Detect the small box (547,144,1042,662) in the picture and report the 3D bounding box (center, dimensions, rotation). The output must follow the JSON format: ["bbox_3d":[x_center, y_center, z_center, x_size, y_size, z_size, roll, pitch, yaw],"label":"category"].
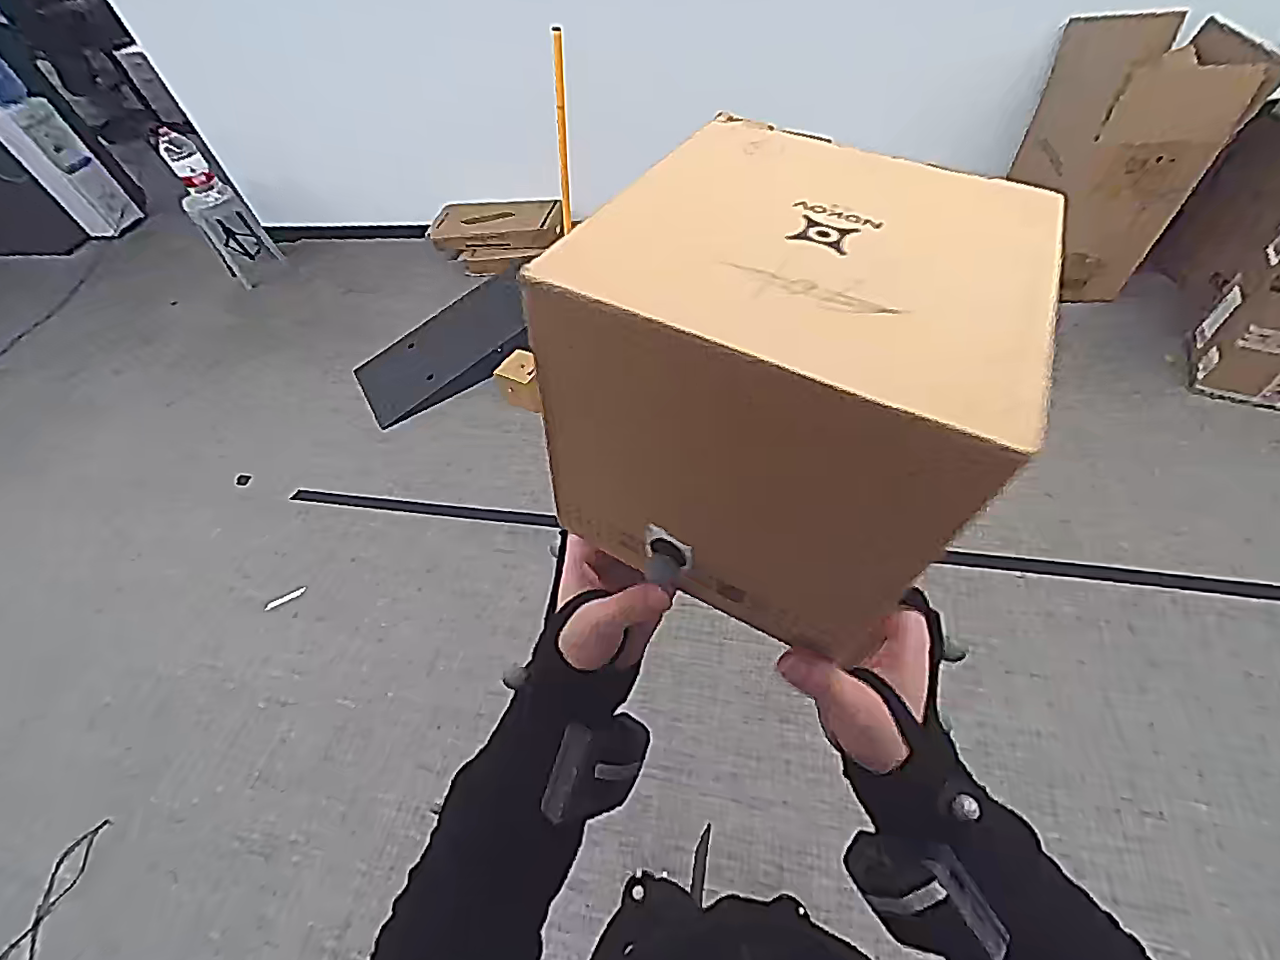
[{"bbox_3d":[0.070,-0.039,0.285,0.168,0.176,0.179,23,55,15],"label":"small box"}]
